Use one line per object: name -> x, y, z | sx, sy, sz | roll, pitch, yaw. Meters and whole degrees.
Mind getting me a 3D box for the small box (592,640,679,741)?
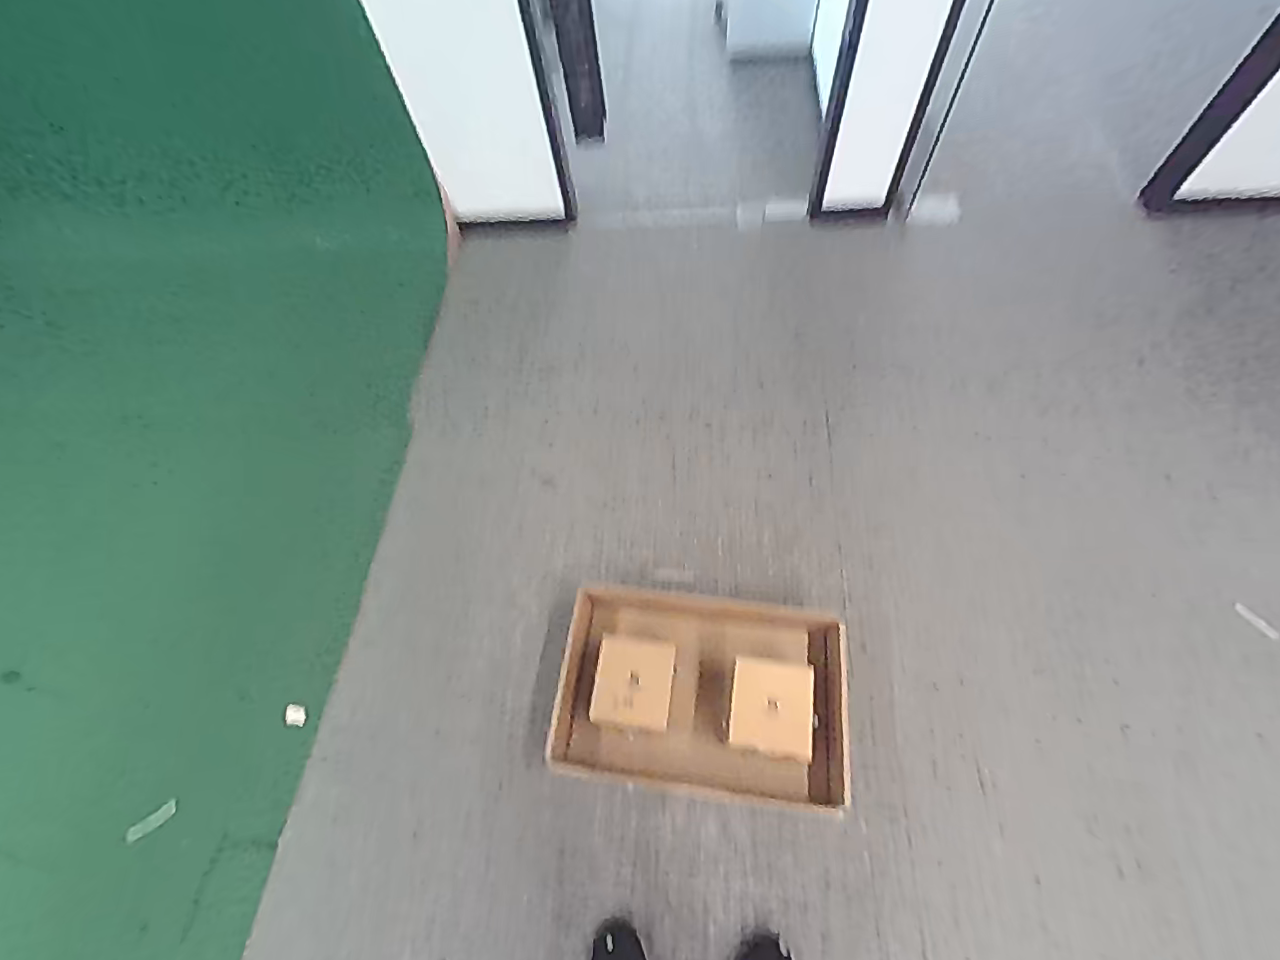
small box -> -0.003, 0.480, 1.225 | 0.168, 0.176, 0.179 | 5, 61, 8
